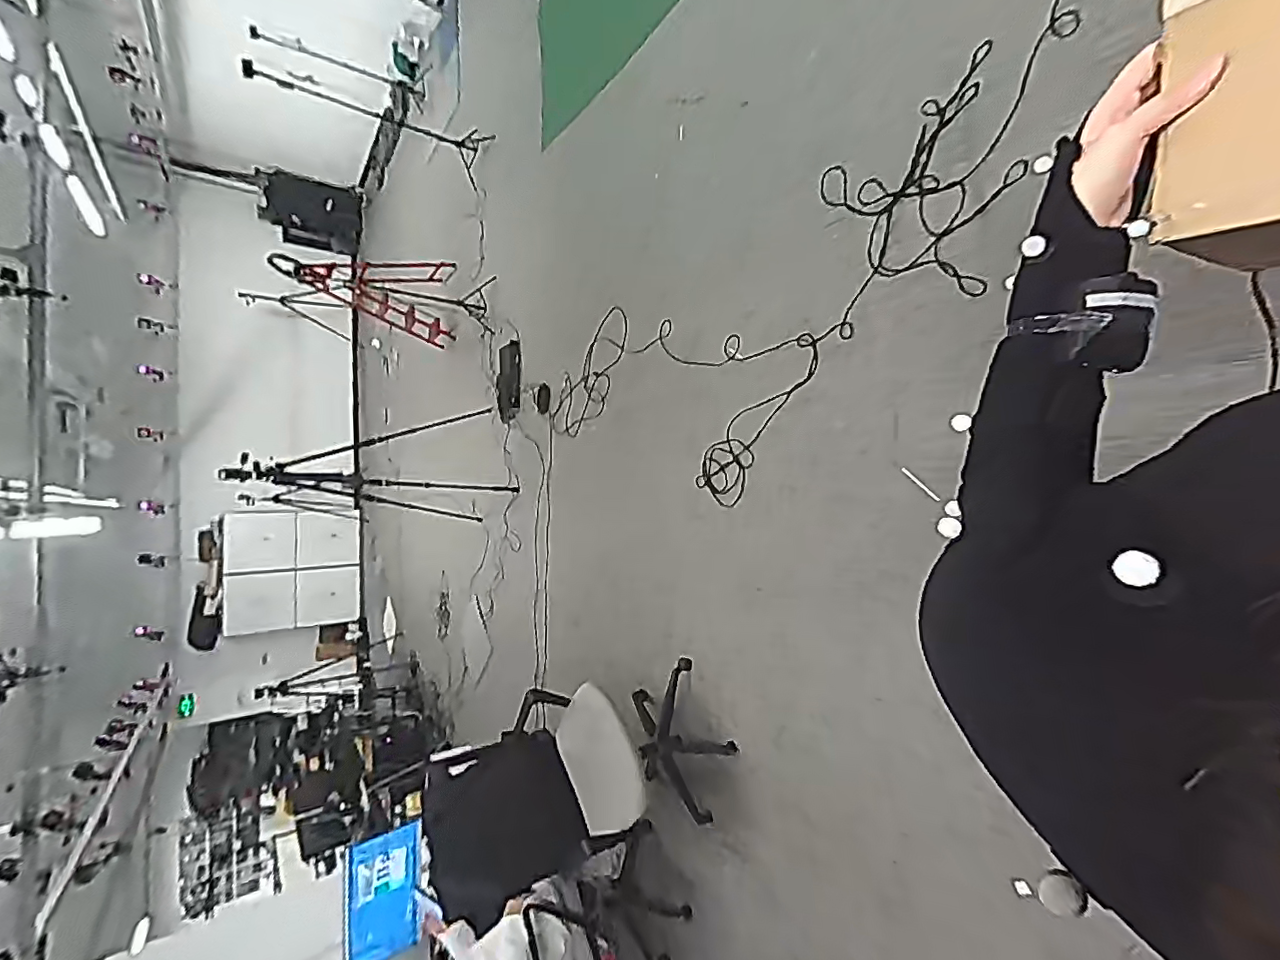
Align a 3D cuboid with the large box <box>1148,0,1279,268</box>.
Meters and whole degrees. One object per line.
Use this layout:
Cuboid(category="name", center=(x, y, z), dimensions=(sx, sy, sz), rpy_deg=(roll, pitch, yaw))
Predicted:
Cuboid(category="large box", center=(0.607, -0.333, 0.304), dimensions=(0.408, 0.320, 0.320), rpy_deg=(8, 104, 56))
